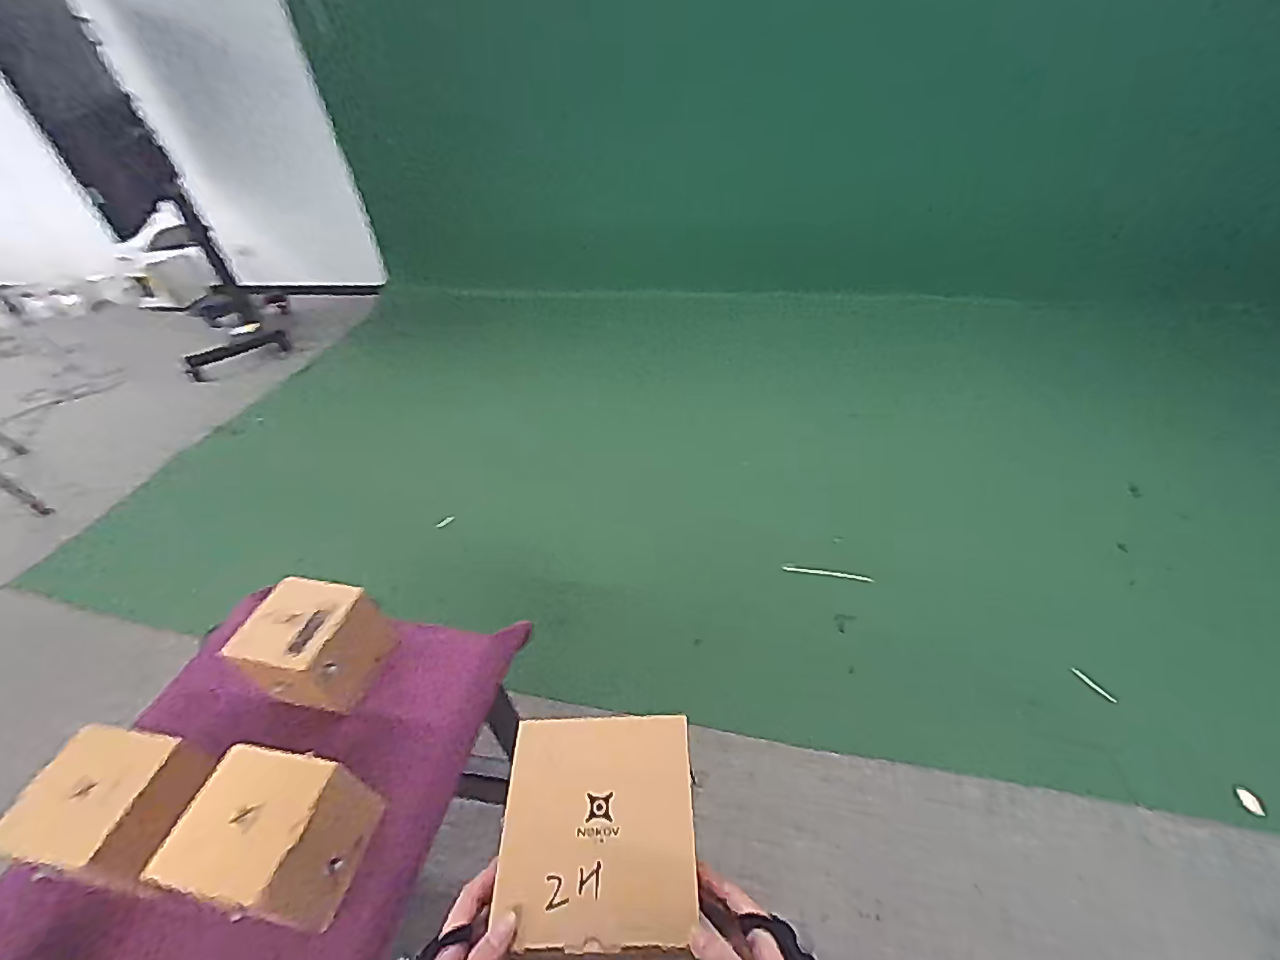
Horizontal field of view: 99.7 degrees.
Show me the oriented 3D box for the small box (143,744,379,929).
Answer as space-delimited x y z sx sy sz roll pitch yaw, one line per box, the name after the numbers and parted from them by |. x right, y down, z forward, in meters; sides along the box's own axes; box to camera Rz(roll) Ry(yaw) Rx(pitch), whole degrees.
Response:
-0.515 0.503 0.764 0.179 0.176 0.168 4 42 11 | small box

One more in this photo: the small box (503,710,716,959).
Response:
-0.018 0.344 0.523 0.168 0.176 0.179 -2 44 3 | small box

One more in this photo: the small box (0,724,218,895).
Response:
-0.775 0.492 0.807 0.179 0.176 0.168 4 43 10 | small box
